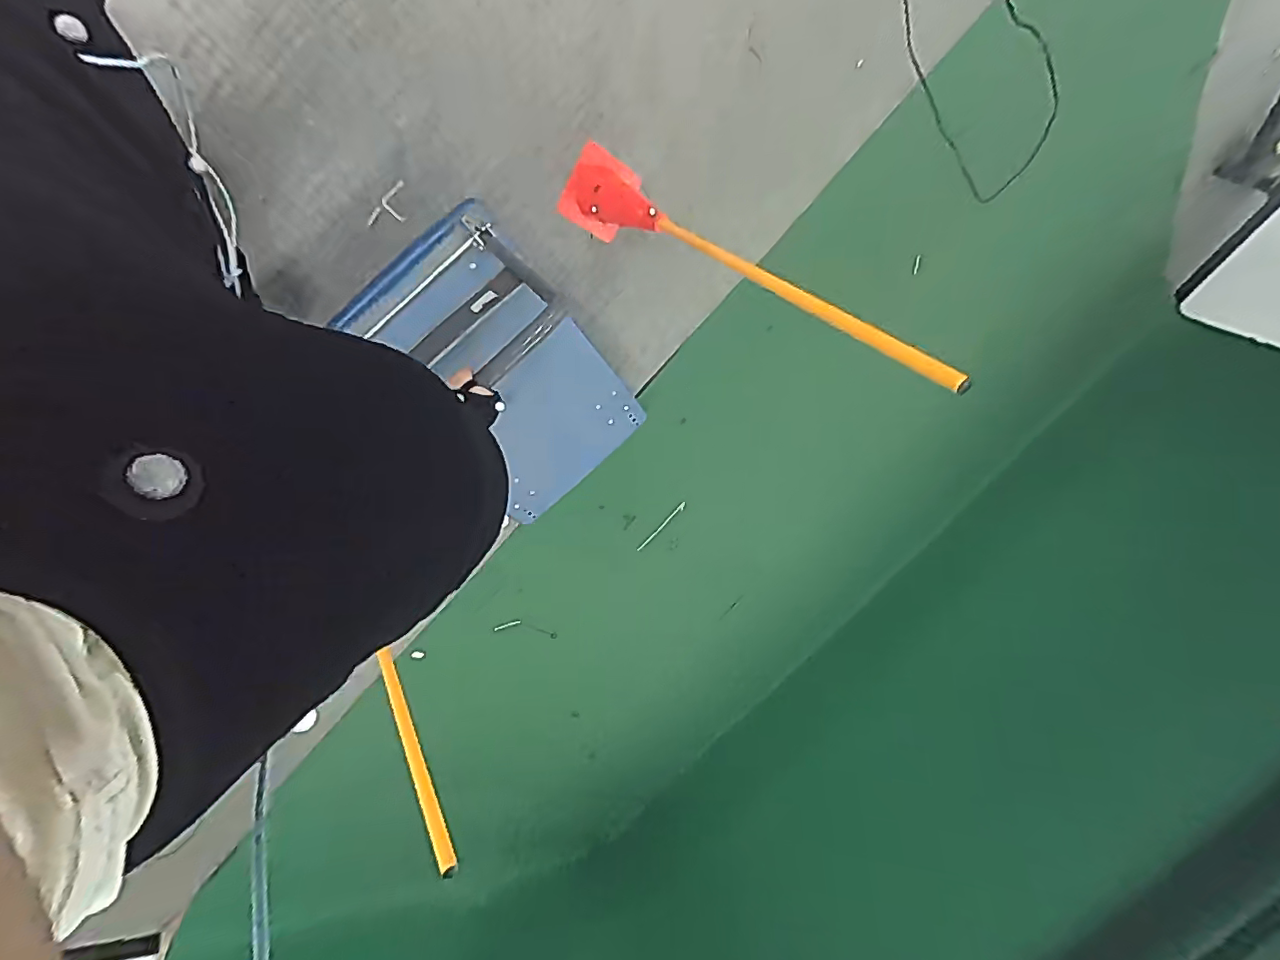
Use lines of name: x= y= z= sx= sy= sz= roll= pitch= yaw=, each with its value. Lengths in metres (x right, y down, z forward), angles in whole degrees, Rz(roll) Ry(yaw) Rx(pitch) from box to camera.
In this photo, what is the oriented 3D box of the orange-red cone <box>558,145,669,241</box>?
orange-red cone: x=-0.033 y=-0.713 z=1.417 sx=0.198 sy=0.360 sz=0.199 roll=16 pitch=113 yaw=-43
